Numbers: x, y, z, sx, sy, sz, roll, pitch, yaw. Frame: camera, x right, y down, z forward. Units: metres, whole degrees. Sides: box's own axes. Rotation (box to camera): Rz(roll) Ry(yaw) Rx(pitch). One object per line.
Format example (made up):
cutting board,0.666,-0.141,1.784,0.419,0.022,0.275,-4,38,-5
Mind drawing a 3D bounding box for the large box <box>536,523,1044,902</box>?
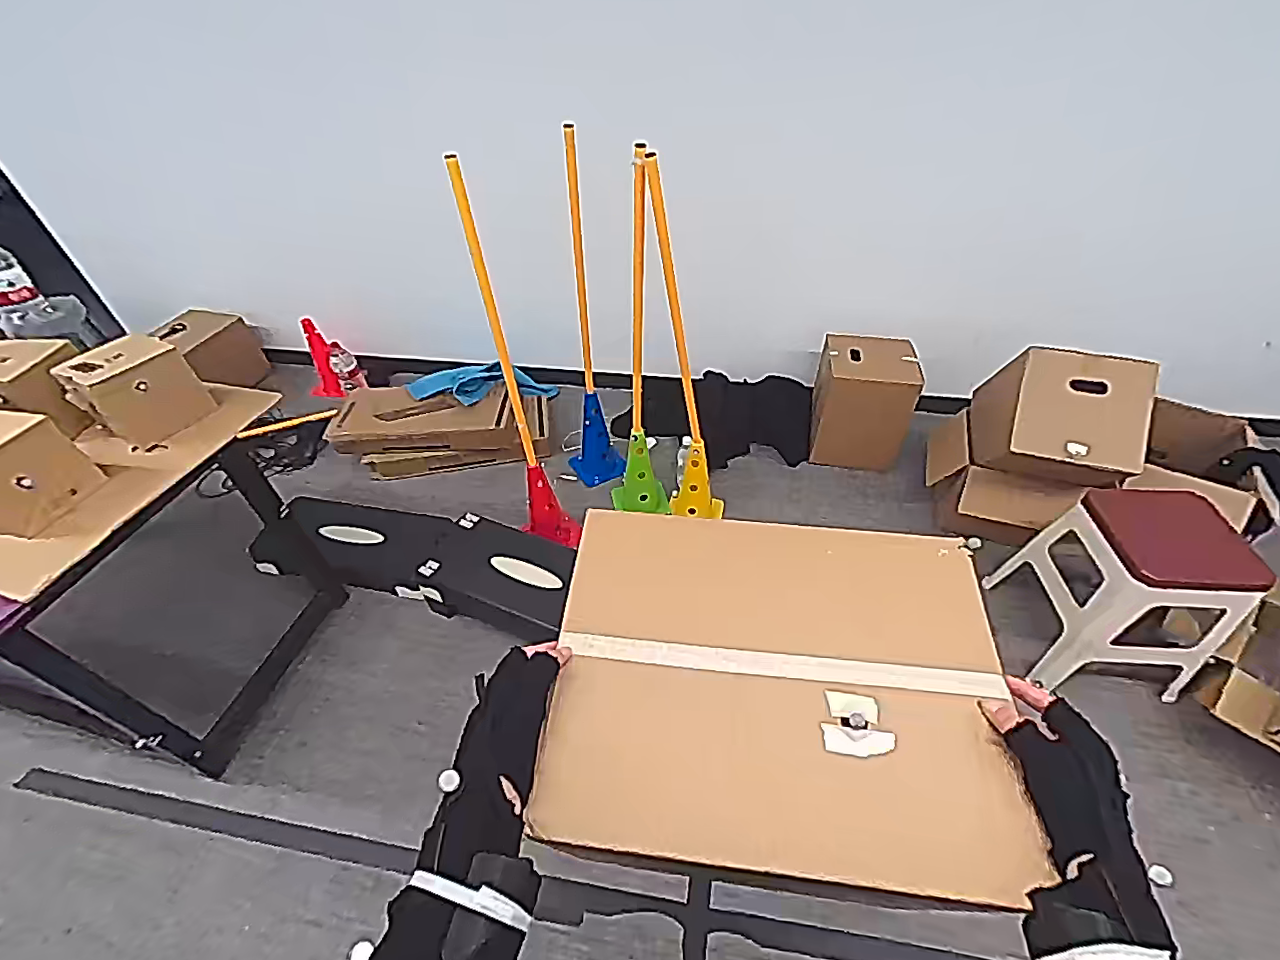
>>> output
large box,0.129,0.273,0.630,0.408,0.320,0.320,4,53,6
